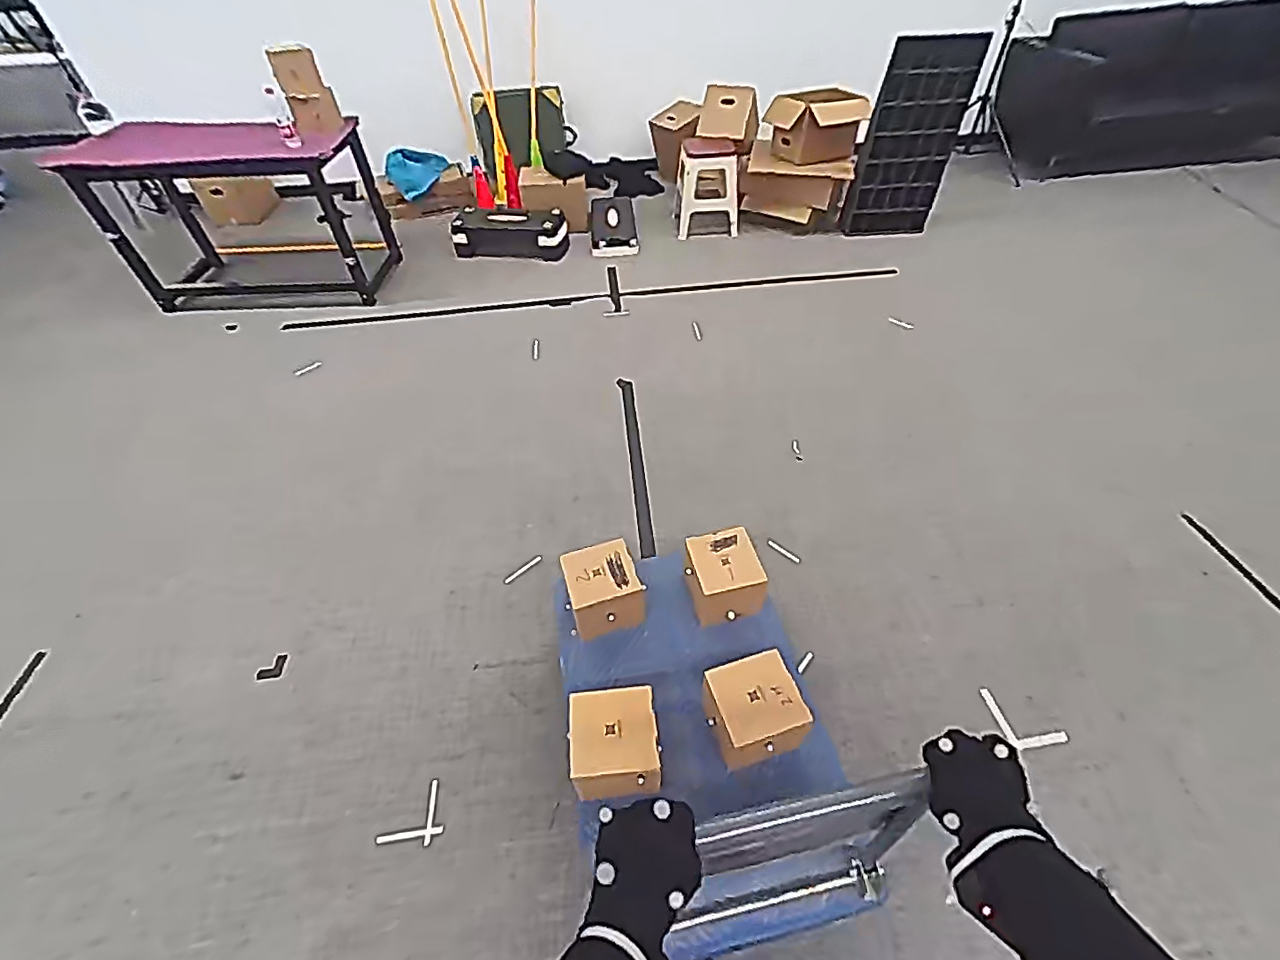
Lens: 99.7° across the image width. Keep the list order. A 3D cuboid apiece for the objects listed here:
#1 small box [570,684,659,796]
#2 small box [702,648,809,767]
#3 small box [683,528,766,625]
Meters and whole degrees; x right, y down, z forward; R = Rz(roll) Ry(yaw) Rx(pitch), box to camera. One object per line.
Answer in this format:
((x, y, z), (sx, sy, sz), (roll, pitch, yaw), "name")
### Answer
((-0.054, 0.561, 1.160), (0.179, 0.176, 0.168), (-5, 46, -4), "small box")
((0.246, 0.506, 1.196), (0.179, 0.176, 0.168), (-14, 48, -10), "small box")
((0.215, 0.256, 1.432), (0.168, 0.176, 0.179), (-11, 48, -7), "small box")
